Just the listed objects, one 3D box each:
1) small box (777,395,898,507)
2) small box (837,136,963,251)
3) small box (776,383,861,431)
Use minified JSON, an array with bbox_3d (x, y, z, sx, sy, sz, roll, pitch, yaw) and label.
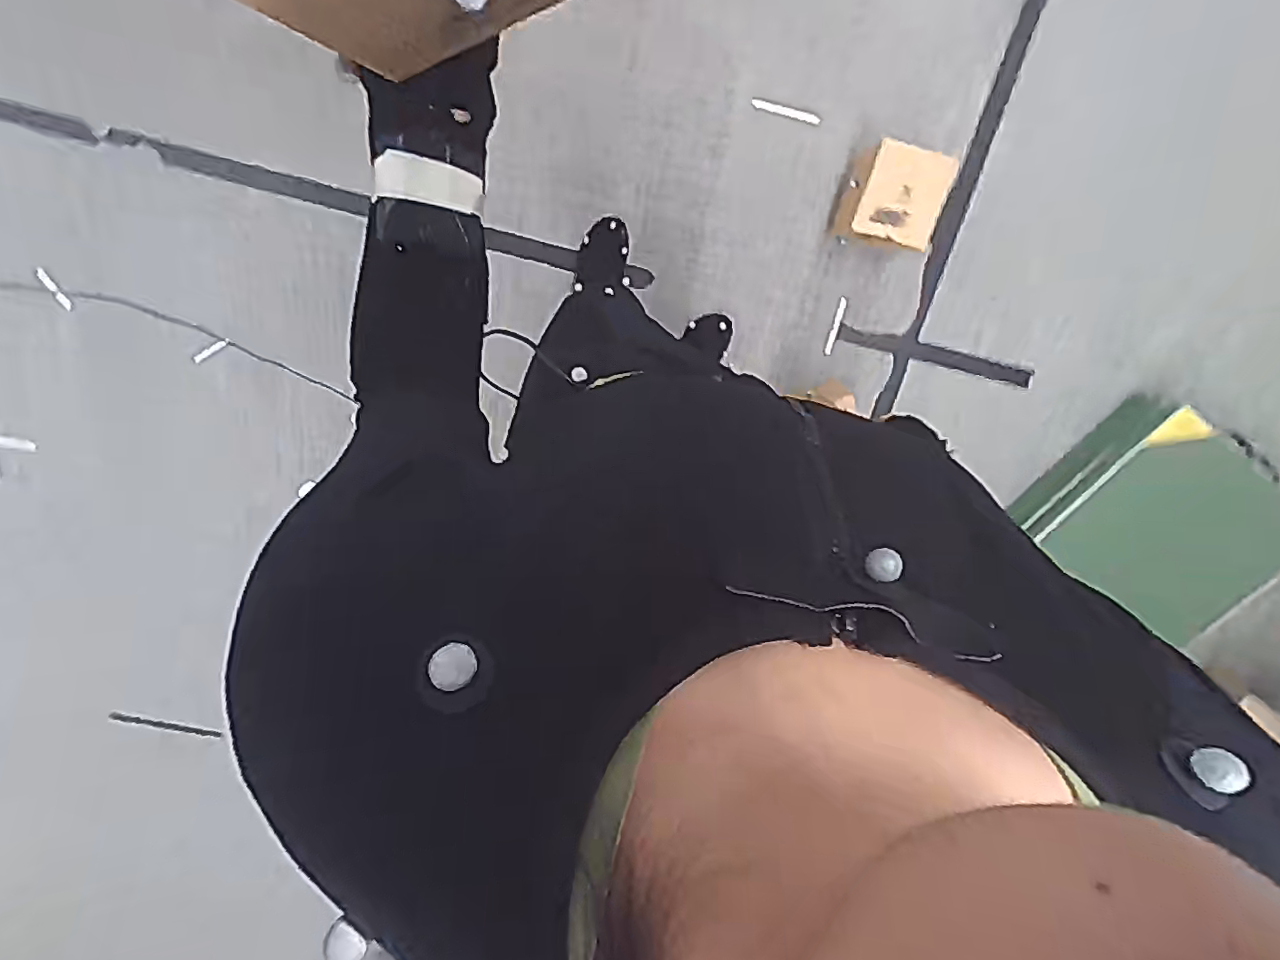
[{"bbox_3d":[0.436,-0.075,1.230,0.179,0.176,0.168,35,111,-11],"label":"small box"},{"bbox_3d":[0.554,-0.616,1.187,0.168,0.176,0.179,15,110,-4],"label":"small box"},{"bbox_3d":[0.457,-0.138,1.382,0.168,0.176,0.179,-18,111,9],"label":"small box"}]
